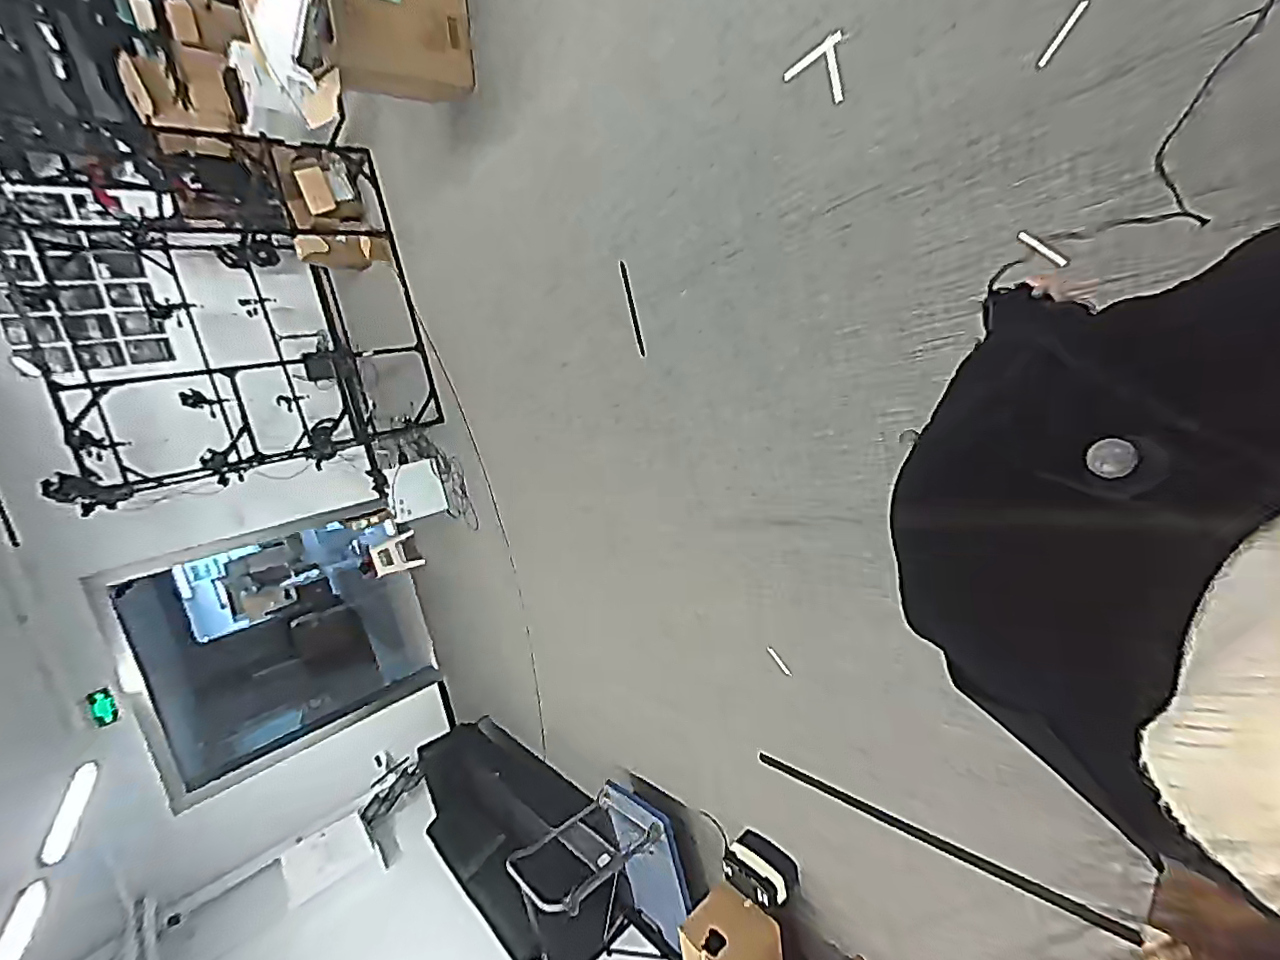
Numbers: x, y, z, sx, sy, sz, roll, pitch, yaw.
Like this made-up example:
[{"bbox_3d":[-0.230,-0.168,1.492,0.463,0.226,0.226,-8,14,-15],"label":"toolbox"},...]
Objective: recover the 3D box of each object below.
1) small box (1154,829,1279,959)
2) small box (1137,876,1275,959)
[{"bbox_3d":[1.264,0.913,1.184,0.179,0.176,0.168,2,107,52],"label":"small box"},{"bbox_3d":[1.136,0.953,1.089,0.179,0.176,0.168,6,110,50],"label":"small box"}]
